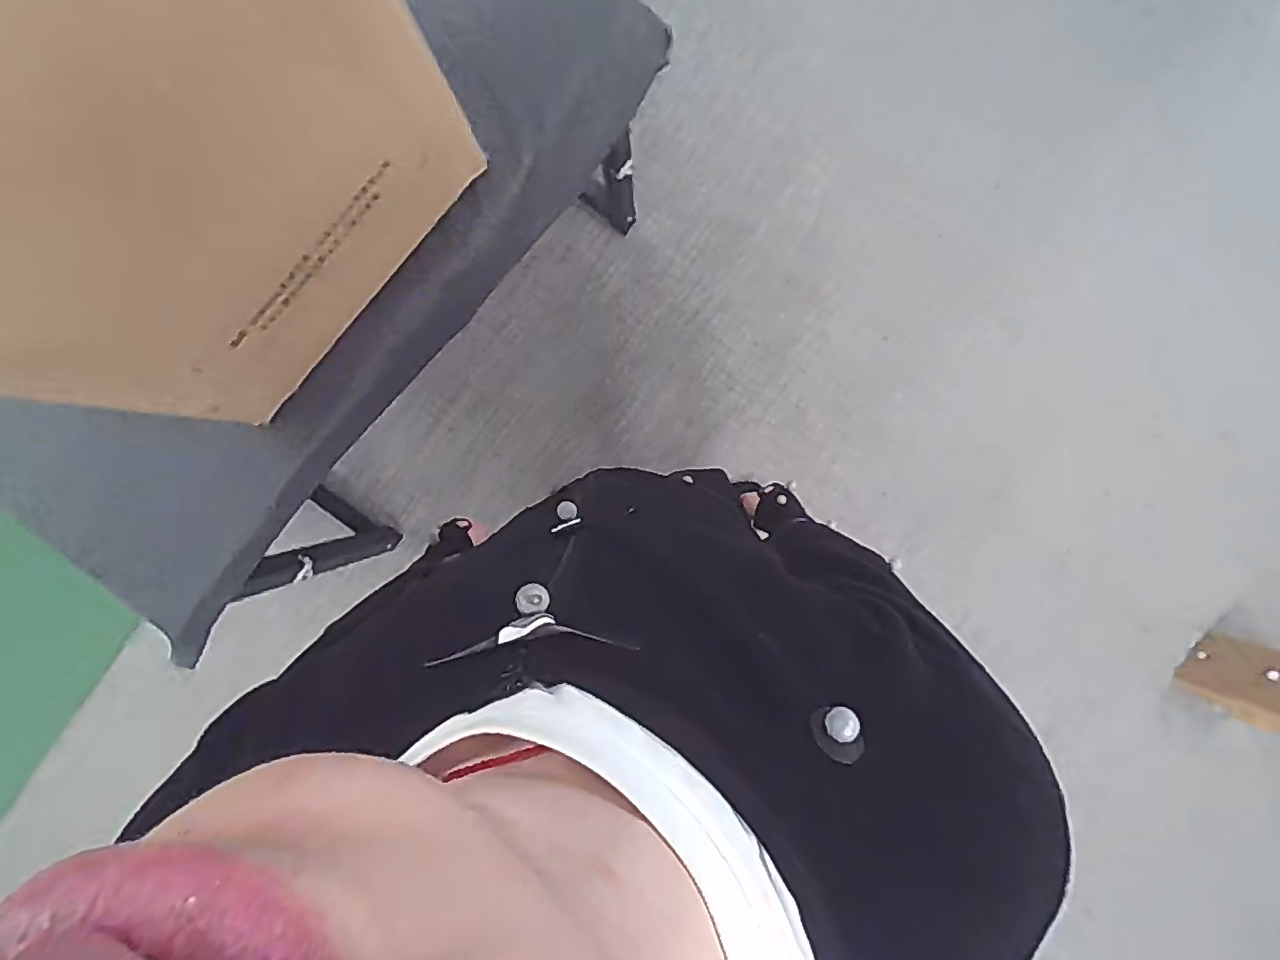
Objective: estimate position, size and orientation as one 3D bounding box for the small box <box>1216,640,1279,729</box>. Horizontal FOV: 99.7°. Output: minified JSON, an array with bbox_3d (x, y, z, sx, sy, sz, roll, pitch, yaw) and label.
[{"bbox_3d":[1.593,0.518,1.312,0.179,0.176,0.168,37,91,0],"label":"small box"}]

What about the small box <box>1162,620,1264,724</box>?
[{"bbox_3d":[1.600,0.517,1.477,0.168,0.176,0.179,38,92,-1],"label":"small box"}]
